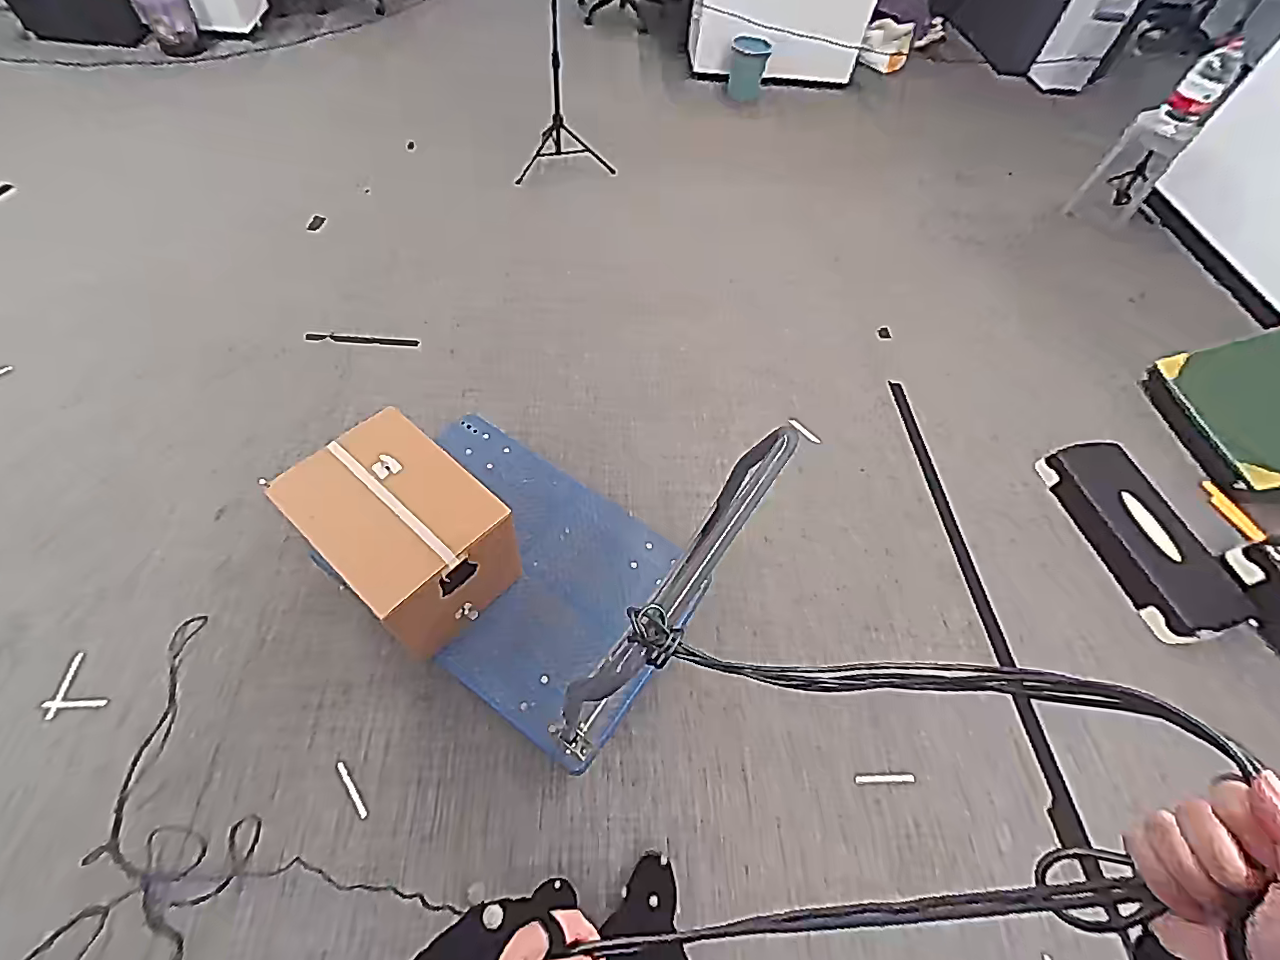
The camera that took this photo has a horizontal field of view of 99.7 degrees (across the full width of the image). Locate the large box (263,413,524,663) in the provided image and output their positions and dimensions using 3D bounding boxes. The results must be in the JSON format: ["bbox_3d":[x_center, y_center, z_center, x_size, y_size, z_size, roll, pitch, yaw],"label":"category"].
[{"bbox_3d":[-0.520,0.132,1.215,0.408,0.320,0.320,37,60,18],"label":"large box"}]
